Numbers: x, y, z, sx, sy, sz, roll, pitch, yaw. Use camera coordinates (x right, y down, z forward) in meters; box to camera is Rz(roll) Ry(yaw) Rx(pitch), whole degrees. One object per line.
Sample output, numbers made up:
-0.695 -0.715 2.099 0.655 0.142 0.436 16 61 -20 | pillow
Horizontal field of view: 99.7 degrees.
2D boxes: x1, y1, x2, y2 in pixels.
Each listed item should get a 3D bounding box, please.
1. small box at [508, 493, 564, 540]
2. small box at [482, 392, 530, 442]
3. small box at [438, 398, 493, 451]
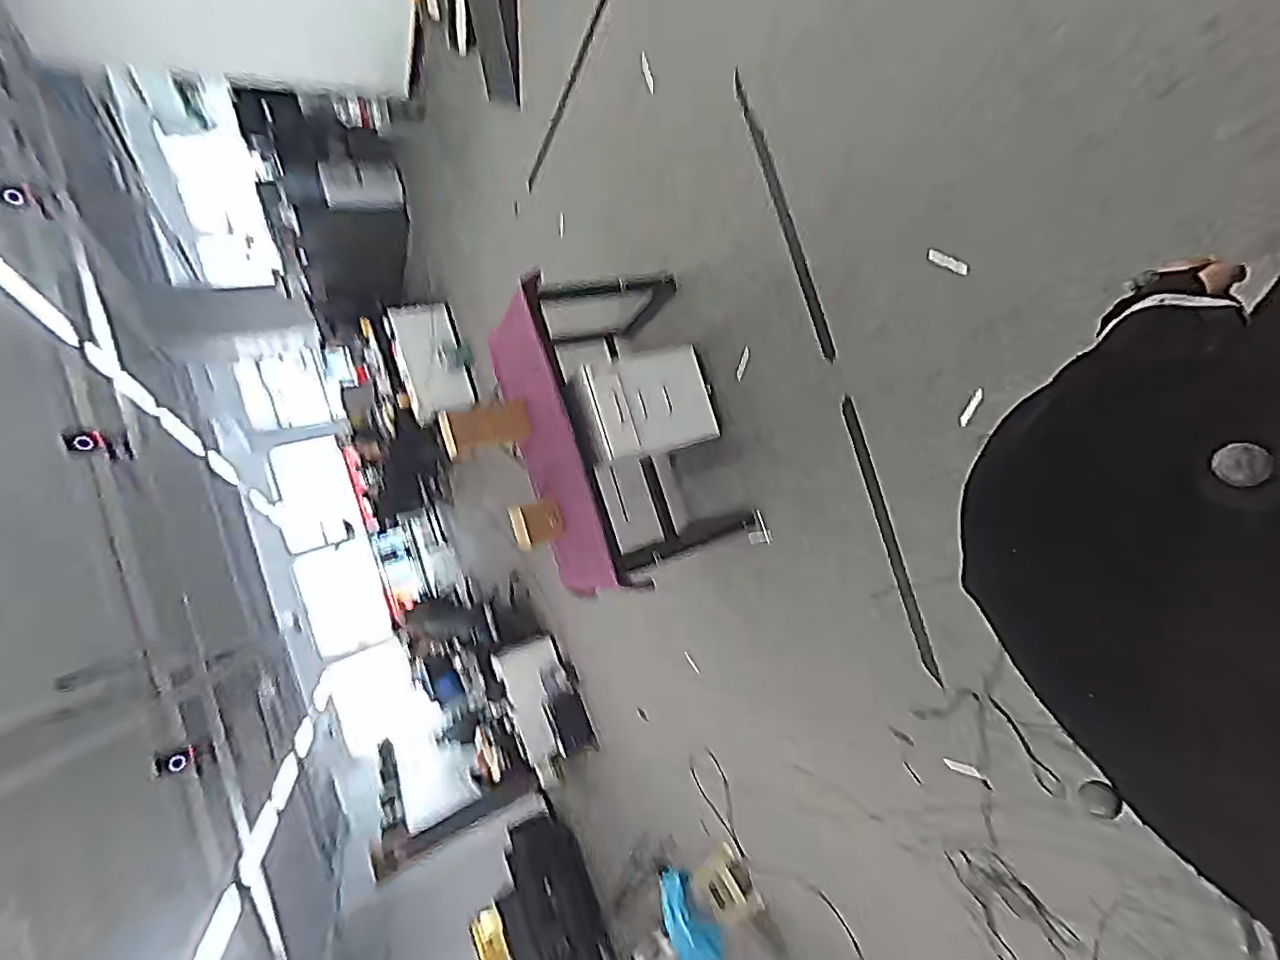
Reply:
-0.453 0.158 2.361 0.179 0.176 0.168 -9 98 59 | small box
-0.605 -0.281 2.387 0.168 0.176 0.179 -13 94 61 | small box
-0.742 -0.238 2.308 0.168 0.176 0.179 -10 97 60 | small box
